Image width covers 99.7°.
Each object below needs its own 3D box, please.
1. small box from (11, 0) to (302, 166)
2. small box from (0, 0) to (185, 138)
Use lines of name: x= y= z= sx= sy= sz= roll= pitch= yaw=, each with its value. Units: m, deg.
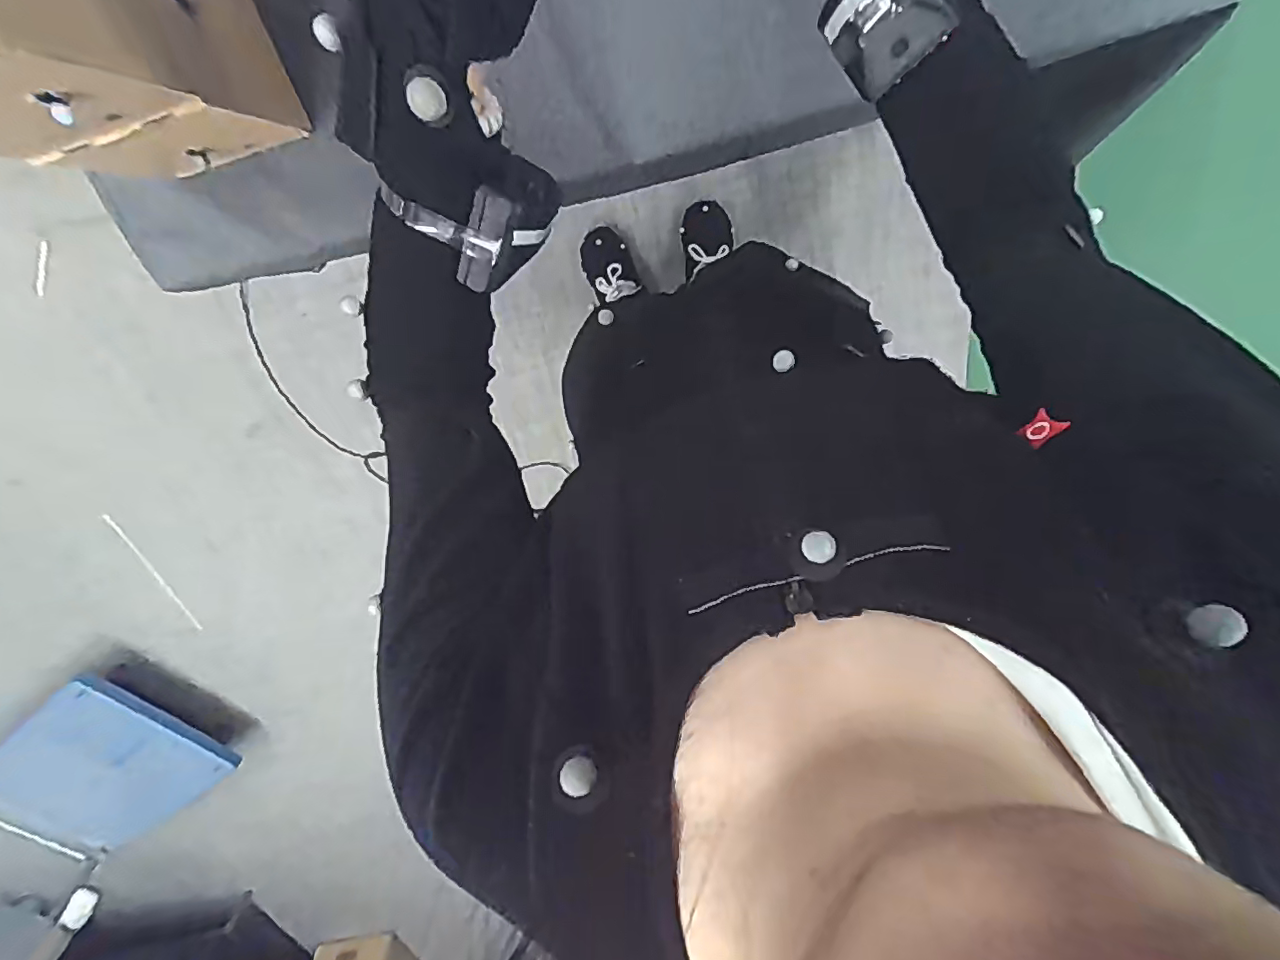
small box: x=-0.445 y=-0.393 z=0.466 sx=0.168 sy=0.176 sz=0.179 roll=-14 pitch=117 yaw=5
small box: x=-0.439 y=-0.322 z=0.319 sx=0.168 sy=0.176 sz=0.179 roll=-14 pitch=117 yaw=4
